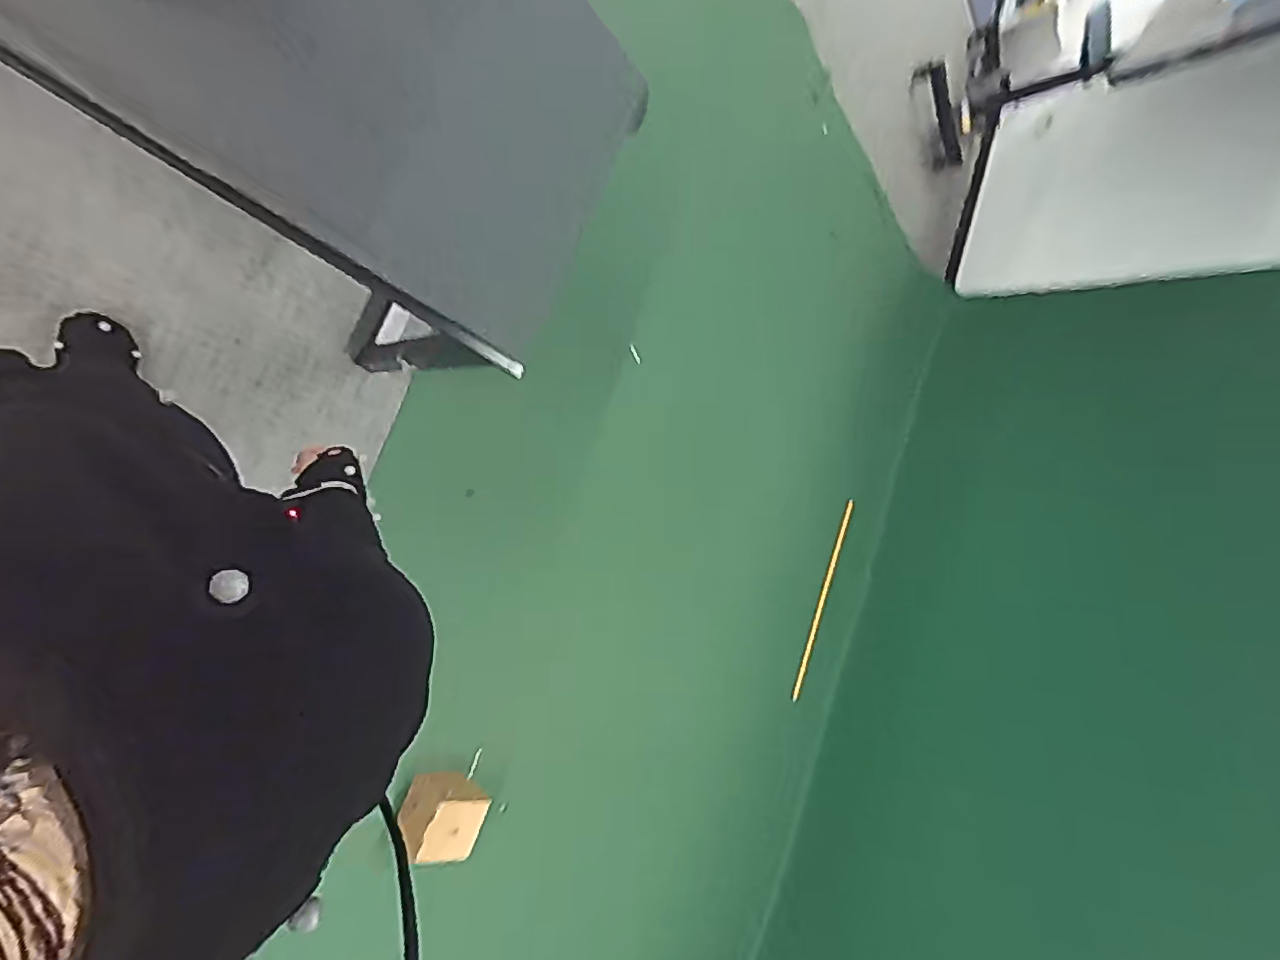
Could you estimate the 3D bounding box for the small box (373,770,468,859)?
[{"bbox_3d":[-0.653,0.985,1.606,0.179,0.176,0.168,32,75,-43],"label":"small box"}]
